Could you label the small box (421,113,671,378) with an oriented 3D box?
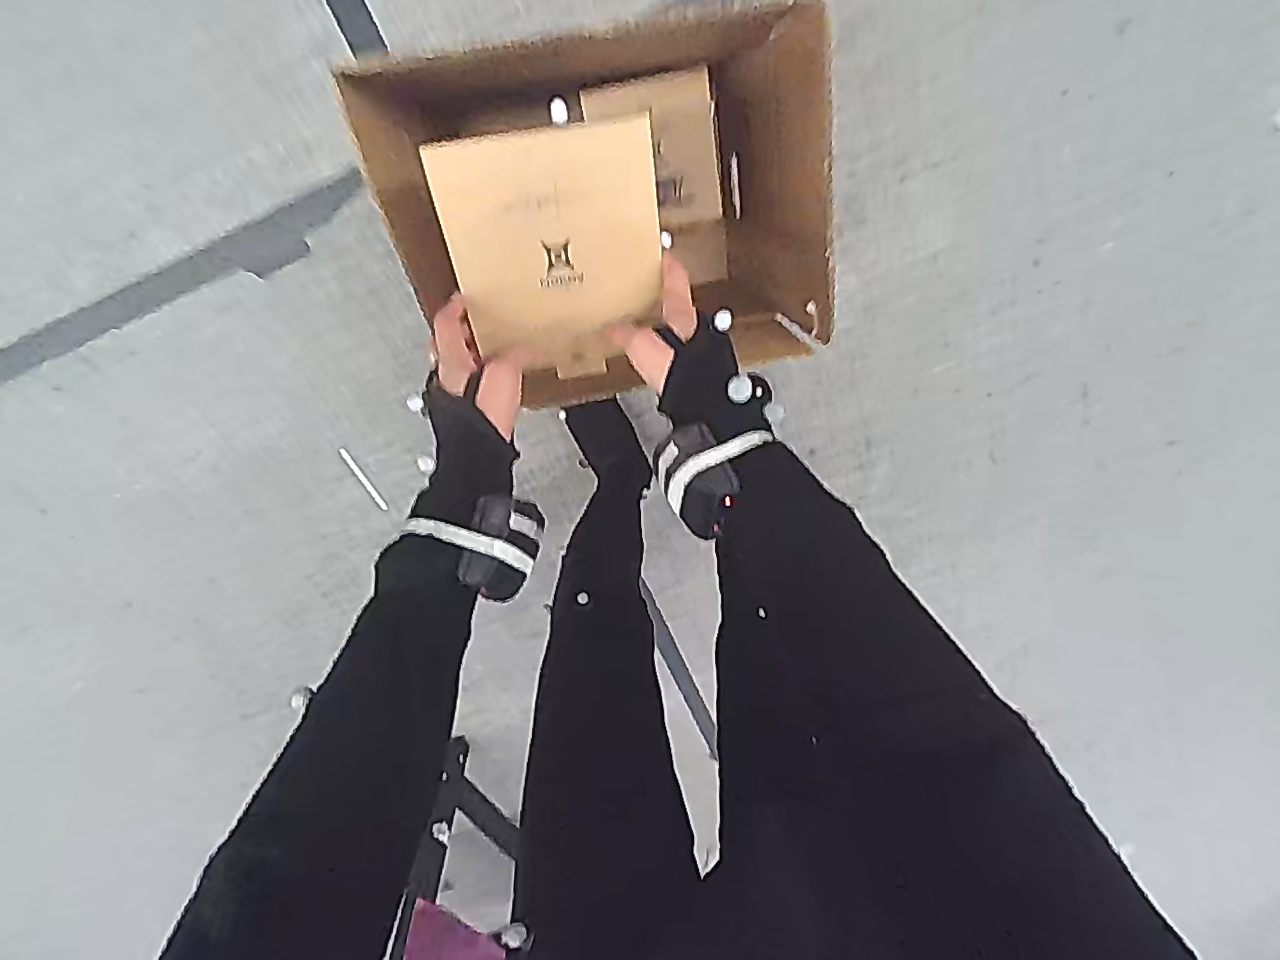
[{"bbox_3d":[-0.069,-0.214,0.482,0.168,0.176,0.179,-9,124,-2],"label":"small box"}]
